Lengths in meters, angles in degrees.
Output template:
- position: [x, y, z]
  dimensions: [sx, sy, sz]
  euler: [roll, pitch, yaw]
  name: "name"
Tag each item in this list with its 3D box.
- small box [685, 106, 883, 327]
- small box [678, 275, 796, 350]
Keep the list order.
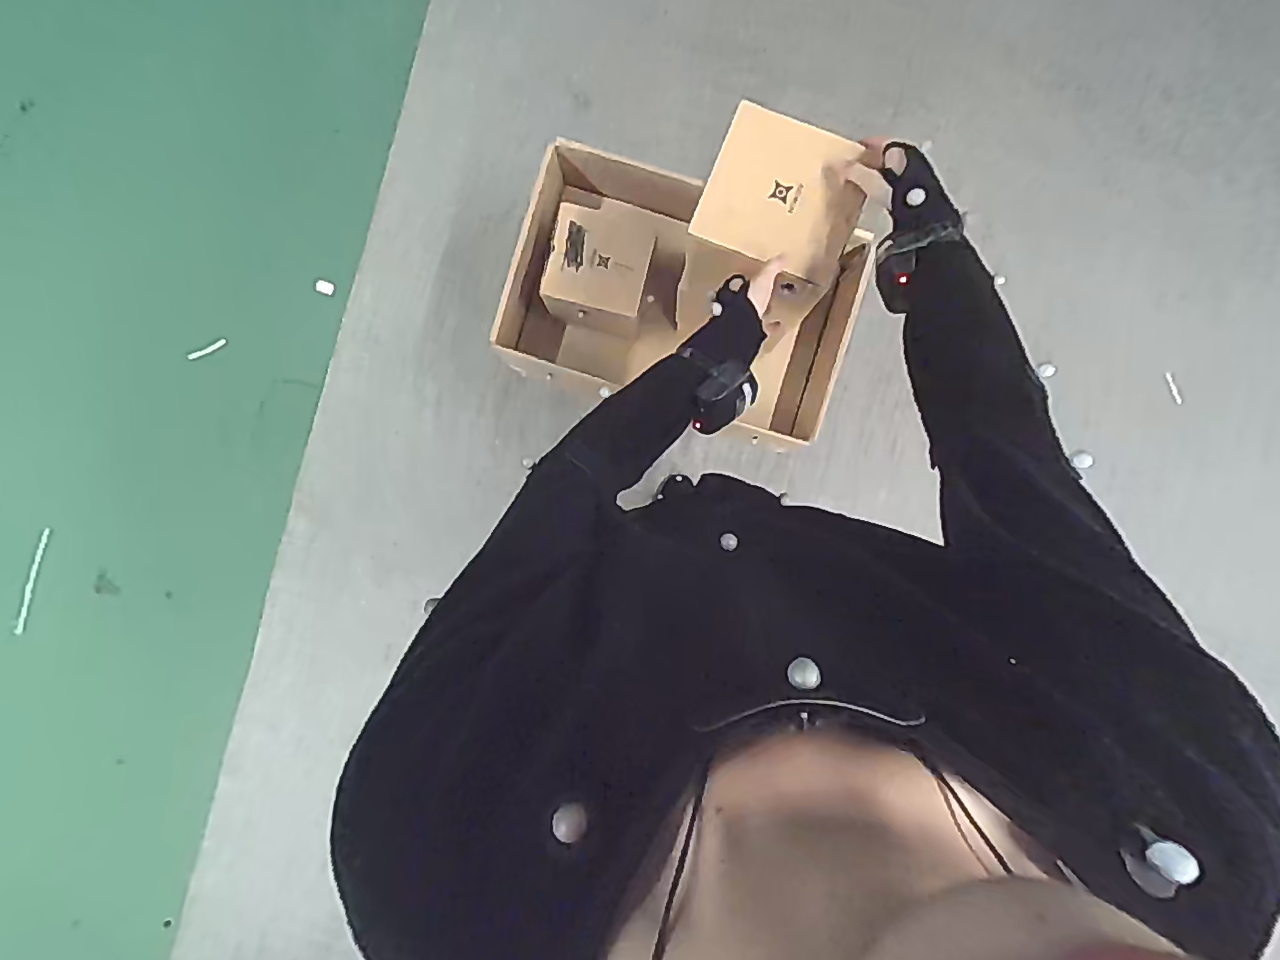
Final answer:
- position: [0.165, -0.316, 0.686]
  dimensions: [0.179, 0.176, 0.168]
  euler: [23, 91, 2]
  name: "small box"
- position: [0.169, -0.317, 0.848]
  dimensions: [0.179, 0.176, 0.168]
  euler: [21, 92, 3]
  name: "small box"
